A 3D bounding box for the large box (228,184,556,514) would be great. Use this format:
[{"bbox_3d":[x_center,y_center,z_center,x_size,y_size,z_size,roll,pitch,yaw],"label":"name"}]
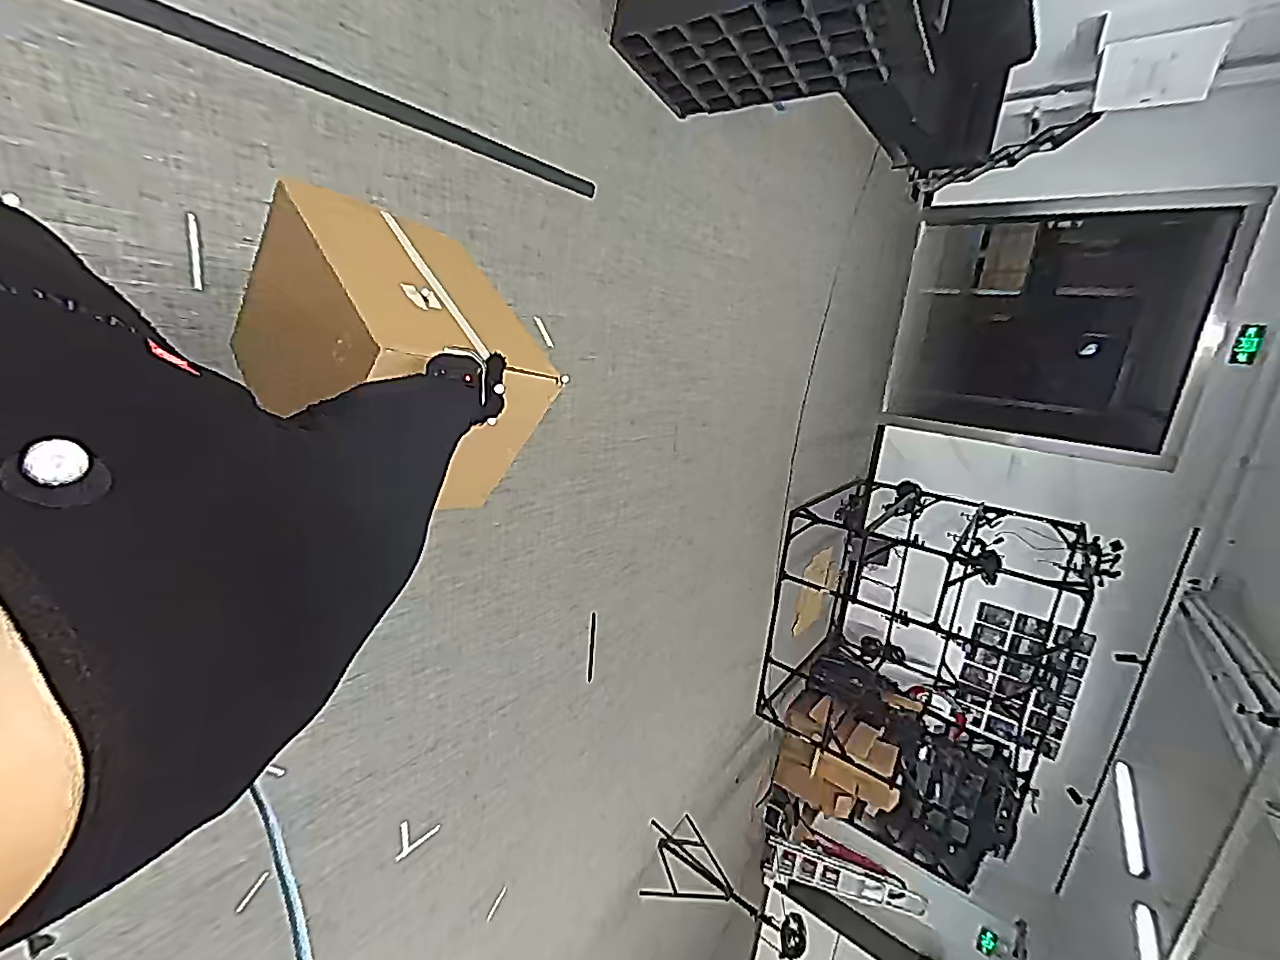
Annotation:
[{"bbox_3d":[-0.426,-0.198,0.917,0.320,0.408,0.320,-49,155,27],"label":"large box"}]
